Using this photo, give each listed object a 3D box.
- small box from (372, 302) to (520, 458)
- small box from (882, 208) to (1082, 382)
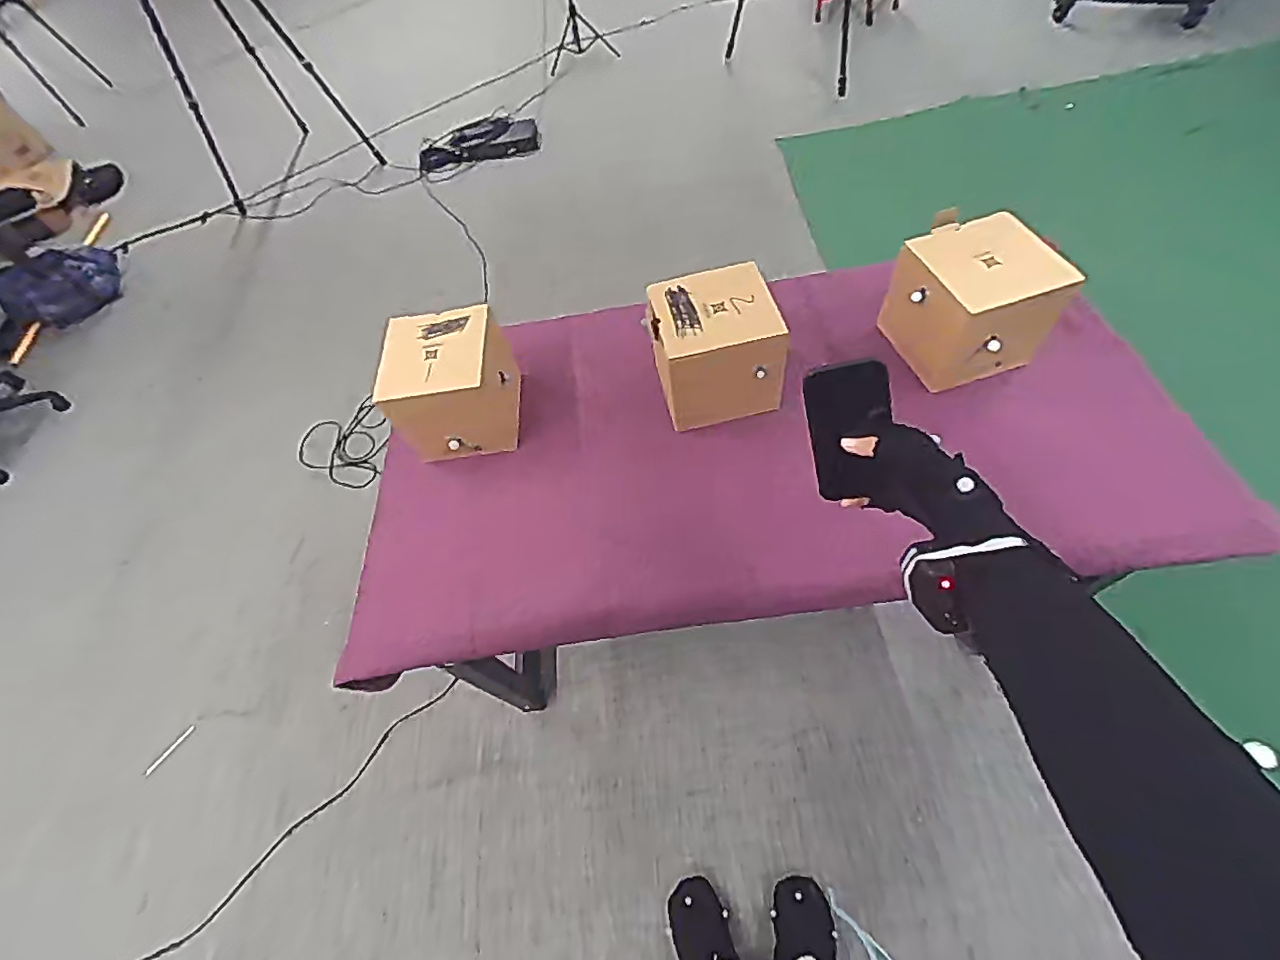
[{"bbox_3d":[-0.303,-0.159,0.884,0.168,0.176,0.179,-8,59,4],"label":"small box"},{"bbox_3d":[0.502,-0.272,0.828,0.168,0.176,0.179,-18,57,-1],"label":"small box"}]
